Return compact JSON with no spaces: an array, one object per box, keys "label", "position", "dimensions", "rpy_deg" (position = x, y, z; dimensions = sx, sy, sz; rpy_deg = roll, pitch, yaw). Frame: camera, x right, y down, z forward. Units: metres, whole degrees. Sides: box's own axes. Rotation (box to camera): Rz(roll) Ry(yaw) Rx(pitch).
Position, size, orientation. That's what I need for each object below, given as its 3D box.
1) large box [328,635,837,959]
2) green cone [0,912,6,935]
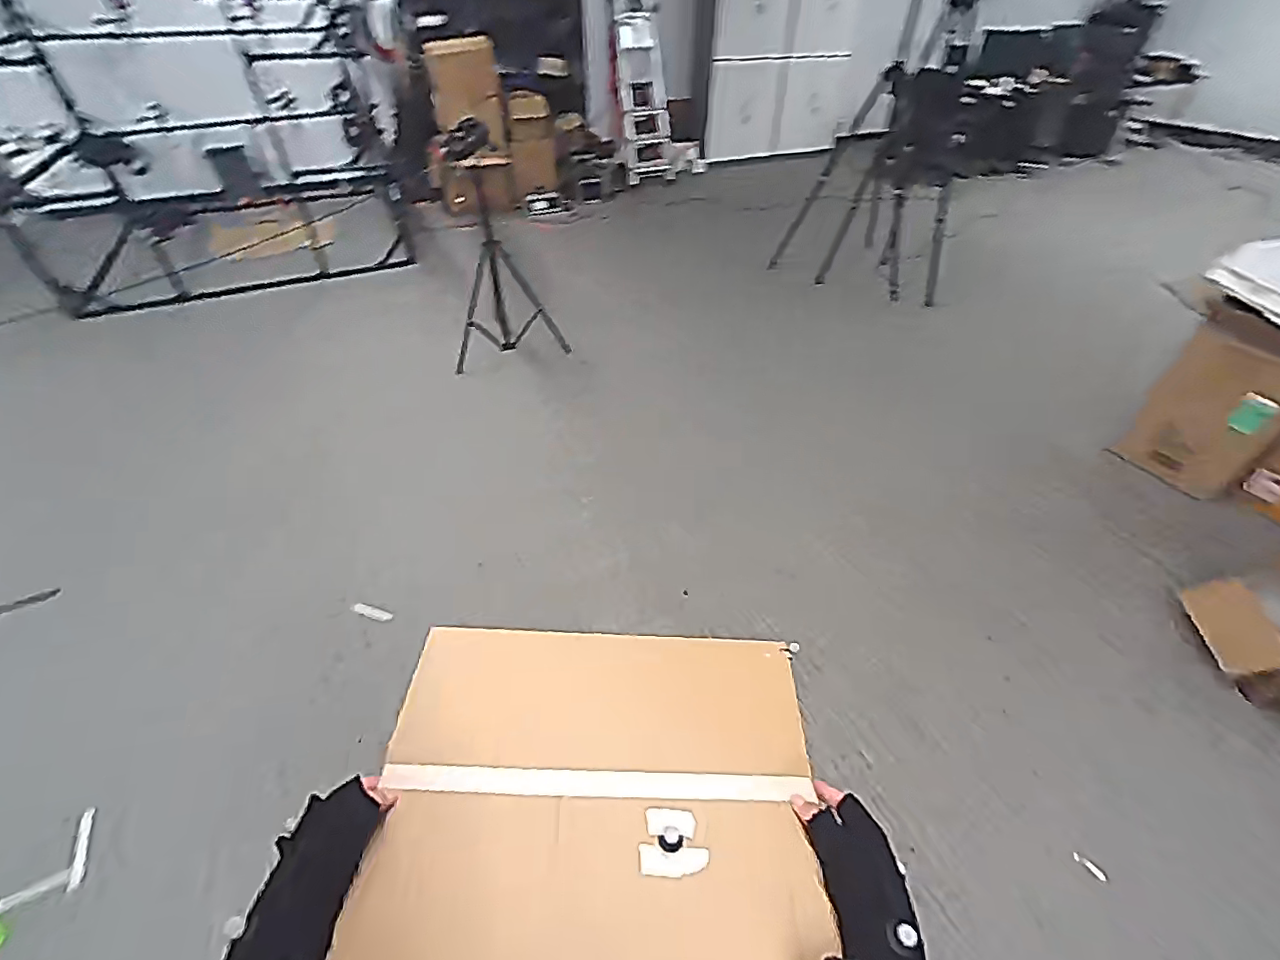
[{"label":"large box","position":[-0.052,0.397,0.612],"dimensions":[0.408,0.320,0.320],"rpy_deg":[3,44,-2]},{"label":"green cone","position":[-1.481,0.858,1.015],"dimensions":[0.202,0.368,0.200],"rpy_deg":[18,44,20]}]
